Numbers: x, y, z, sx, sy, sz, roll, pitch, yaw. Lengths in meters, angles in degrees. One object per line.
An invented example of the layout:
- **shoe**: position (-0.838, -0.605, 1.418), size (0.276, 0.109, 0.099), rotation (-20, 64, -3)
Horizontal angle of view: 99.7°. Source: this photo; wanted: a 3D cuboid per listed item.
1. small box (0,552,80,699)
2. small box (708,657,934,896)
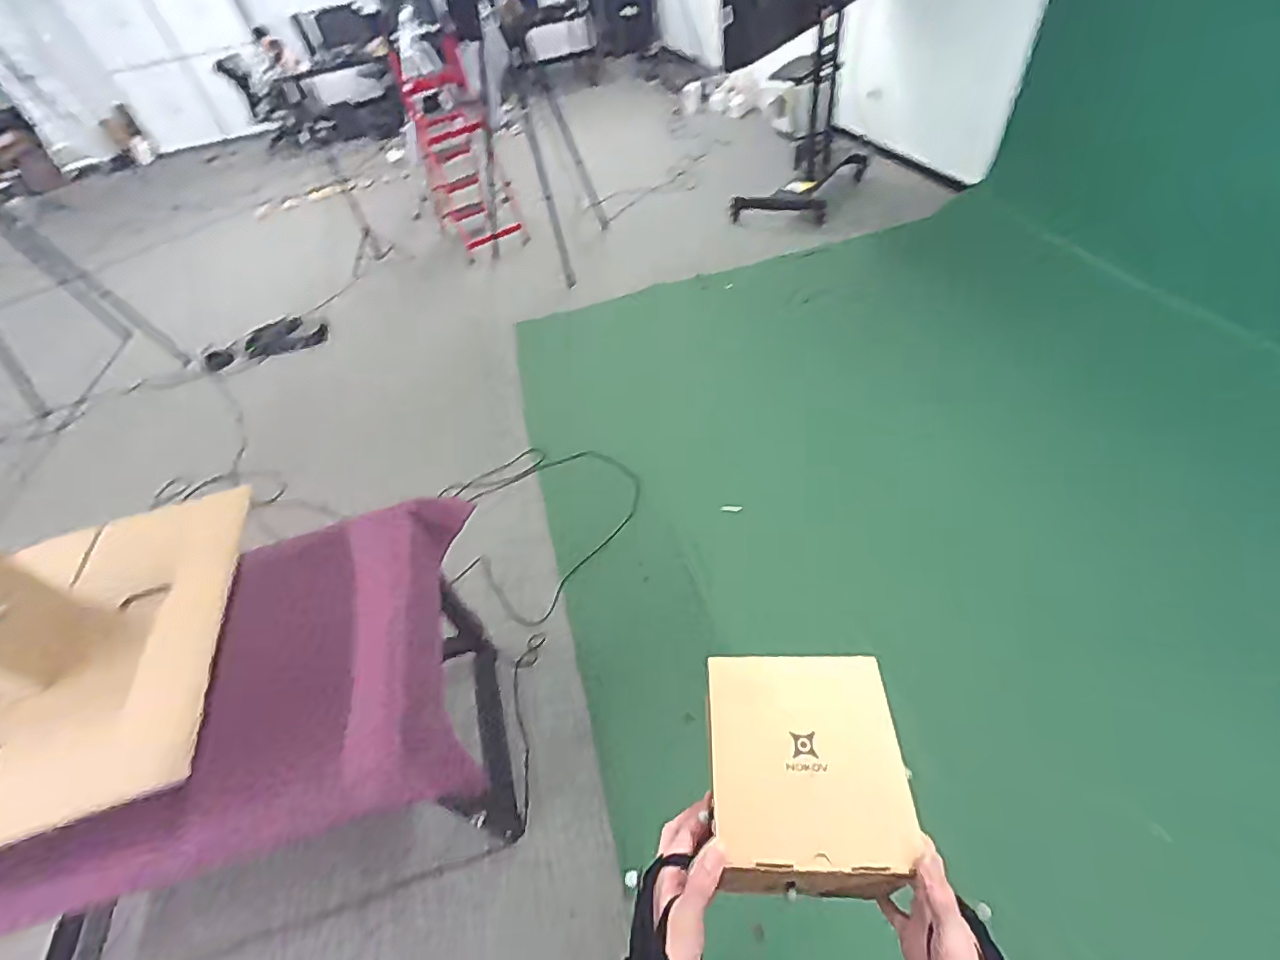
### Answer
- **small box**: position (-1.051, 0.242, 0.844), size (0.168, 0.176, 0.179), rotation (-18, 47, -9)
- **small box**: position (0.155, 0.294, 0.537), size (0.168, 0.176, 0.179), rotation (-2, 49, 5)
